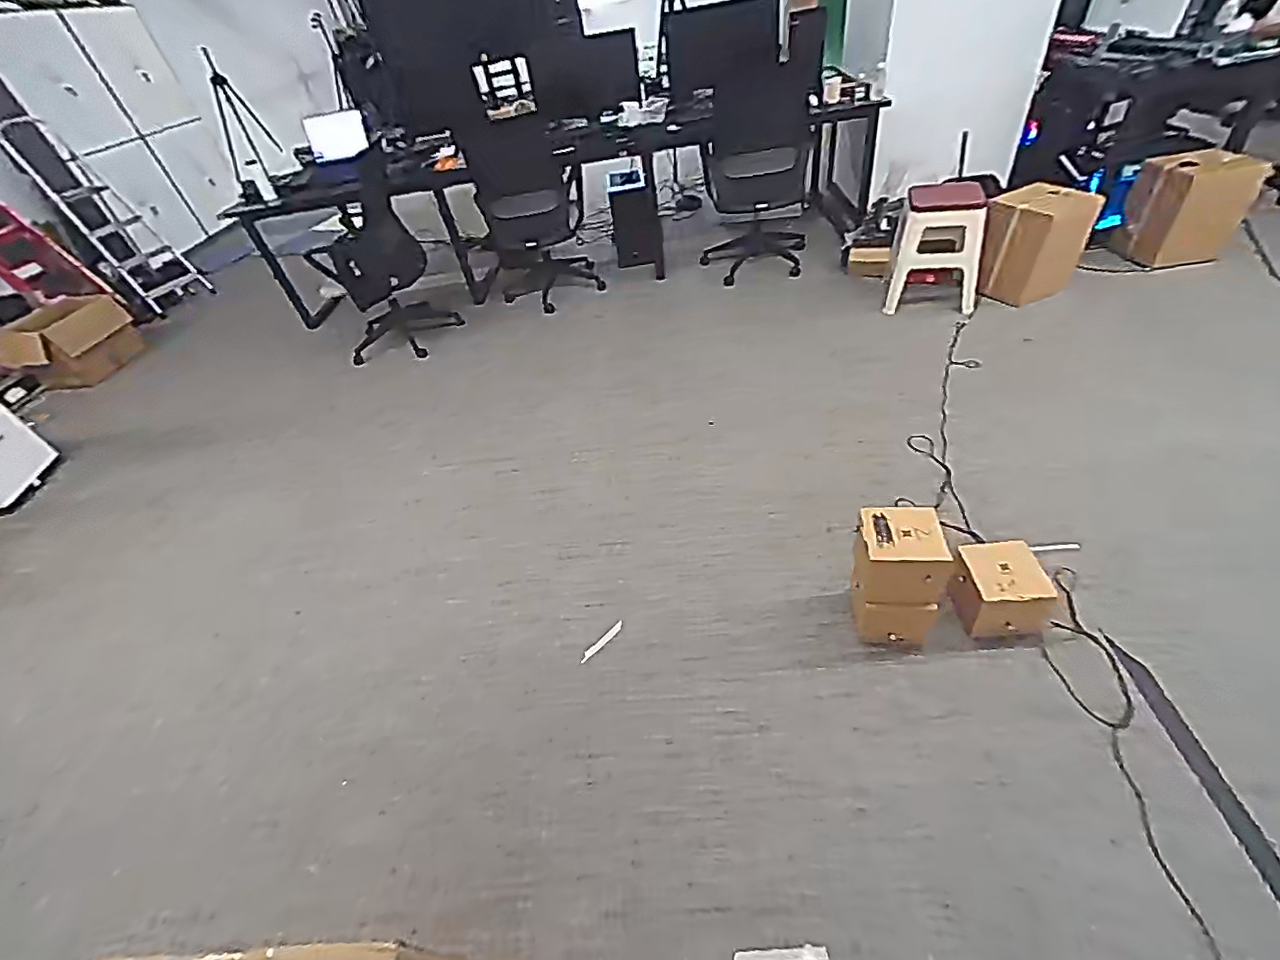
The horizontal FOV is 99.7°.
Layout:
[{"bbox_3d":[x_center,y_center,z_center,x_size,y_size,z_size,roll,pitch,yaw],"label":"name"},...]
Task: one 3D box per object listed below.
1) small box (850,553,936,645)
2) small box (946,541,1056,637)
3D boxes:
[{"bbox_3d":[0.659,0.314,1.431,0.168,0.176,0.179,-2,44,12],"label":"small box"},{"bbox_3d":[0.921,0.283,1.402,0.168,0.176,0.179,-7,43,9],"label":"small box"}]
